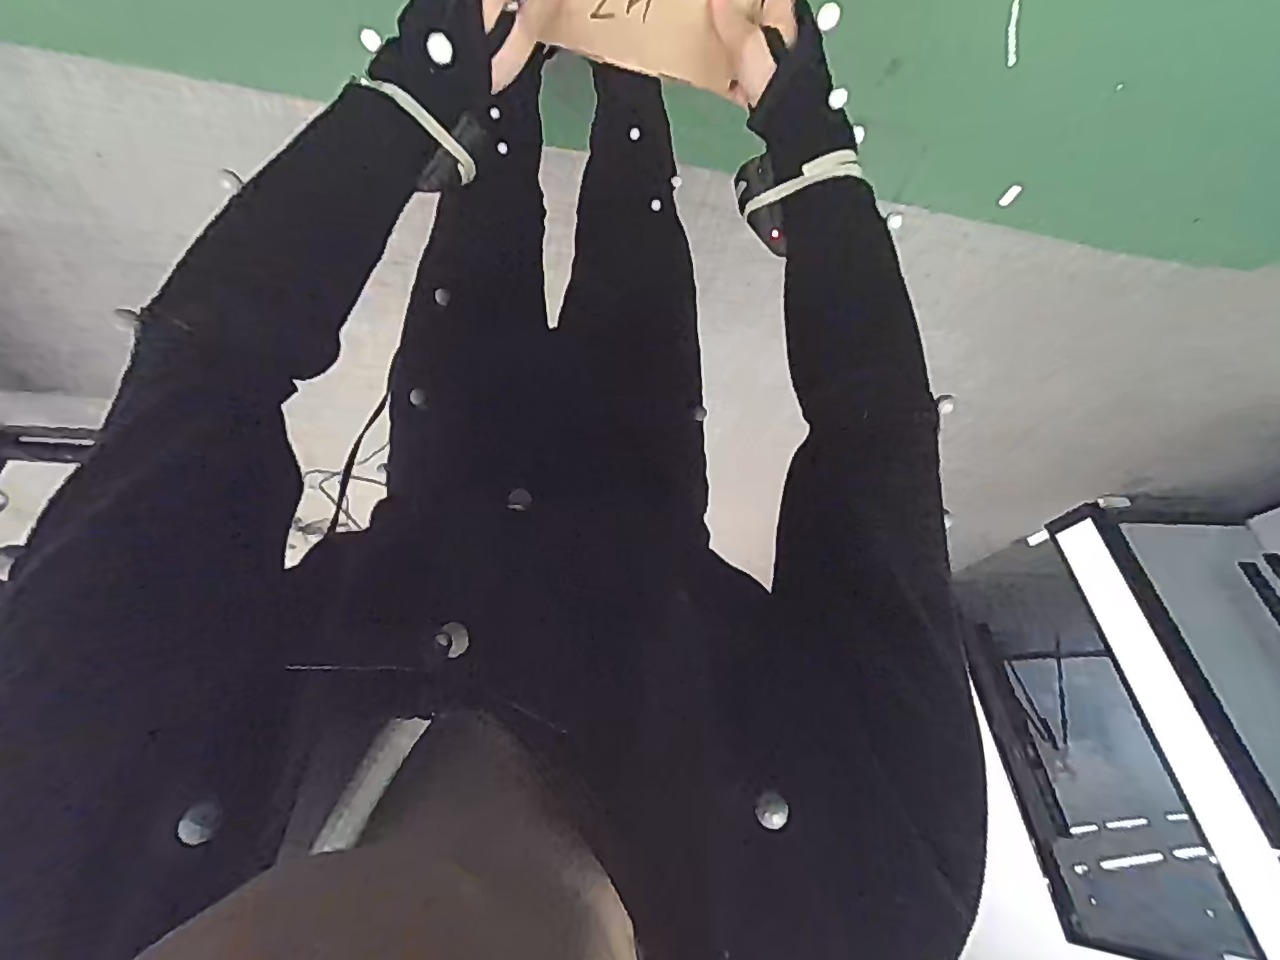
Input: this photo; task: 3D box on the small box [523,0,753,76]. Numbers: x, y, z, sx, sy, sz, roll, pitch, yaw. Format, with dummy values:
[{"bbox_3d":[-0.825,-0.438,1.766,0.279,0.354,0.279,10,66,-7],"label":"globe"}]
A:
[{"bbox_3d":[0.010,-0.446,0.383,0.168,0.176,0.179,5,151,-15],"label":"small box"}]
